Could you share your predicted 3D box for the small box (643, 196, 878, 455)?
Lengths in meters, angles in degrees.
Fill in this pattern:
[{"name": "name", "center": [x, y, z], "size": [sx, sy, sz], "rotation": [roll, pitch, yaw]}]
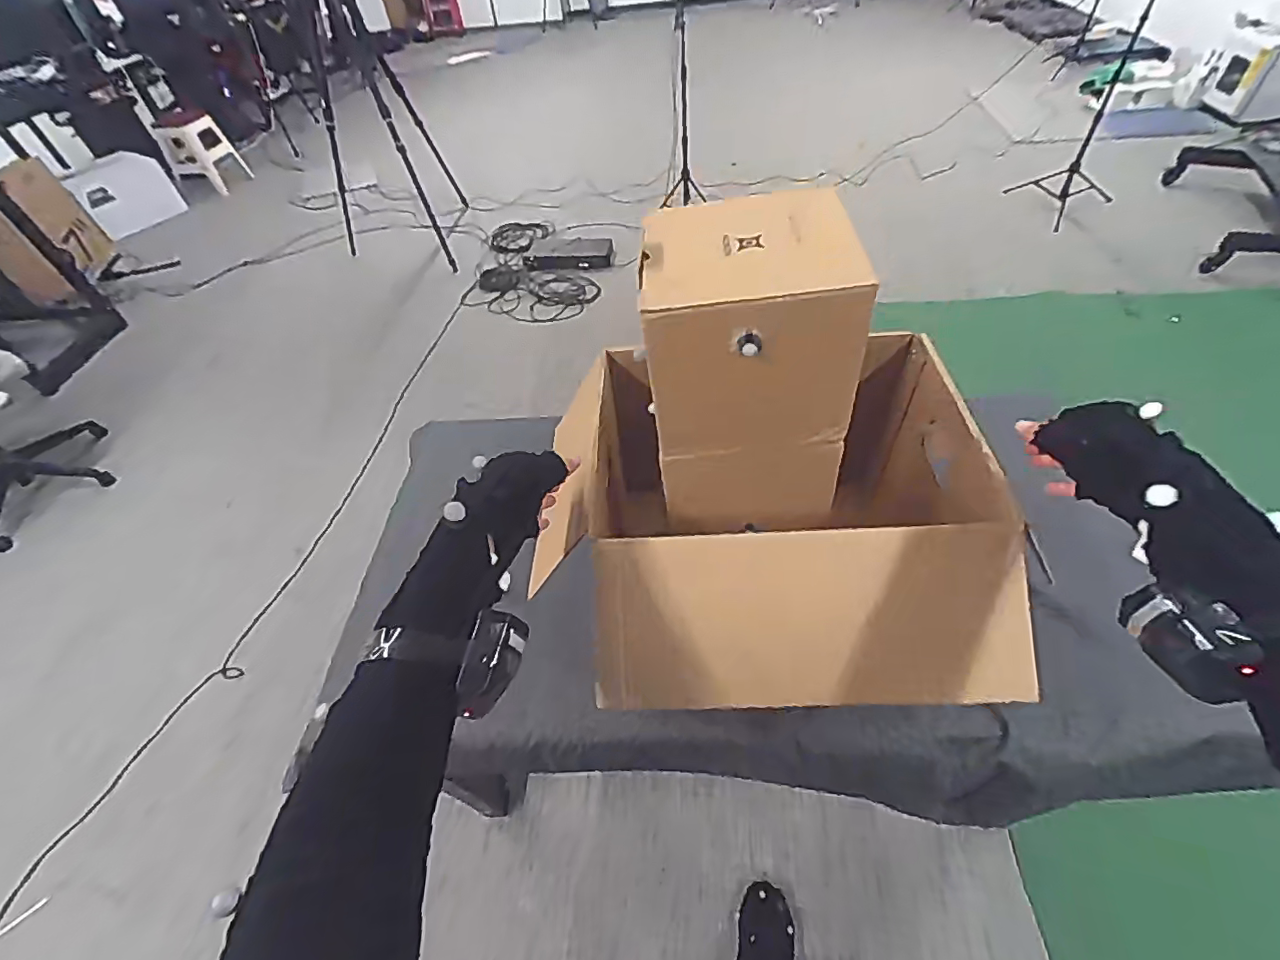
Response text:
[{"name": "small box", "center": [0.100, -0.138, 0.511], "size": [0.179, 0.176, 0.168], "rotation": [-4, 51, 5]}]
